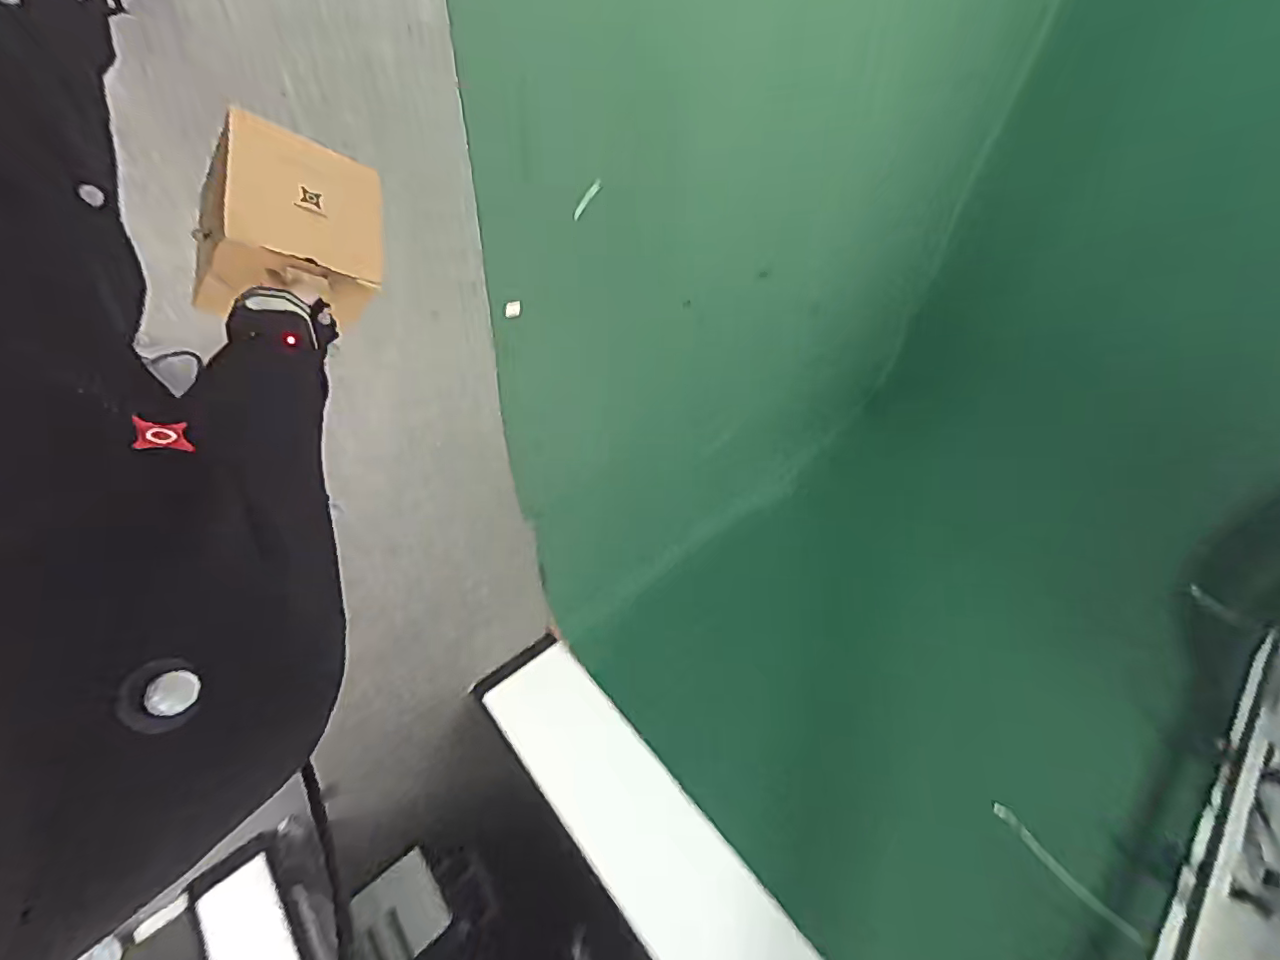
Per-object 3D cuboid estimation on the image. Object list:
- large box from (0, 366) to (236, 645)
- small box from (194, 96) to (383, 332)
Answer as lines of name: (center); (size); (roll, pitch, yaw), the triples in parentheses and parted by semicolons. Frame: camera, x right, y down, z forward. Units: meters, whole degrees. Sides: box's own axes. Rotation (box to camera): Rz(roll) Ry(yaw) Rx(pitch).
large box: (-1.055, 0.032, 0.989); (0.408, 0.320, 0.320); (-24, 140, -34)
small box: (-0.443, -0.313, 0.682); (0.176, 0.179, 0.168); (-21, 162, 40)
